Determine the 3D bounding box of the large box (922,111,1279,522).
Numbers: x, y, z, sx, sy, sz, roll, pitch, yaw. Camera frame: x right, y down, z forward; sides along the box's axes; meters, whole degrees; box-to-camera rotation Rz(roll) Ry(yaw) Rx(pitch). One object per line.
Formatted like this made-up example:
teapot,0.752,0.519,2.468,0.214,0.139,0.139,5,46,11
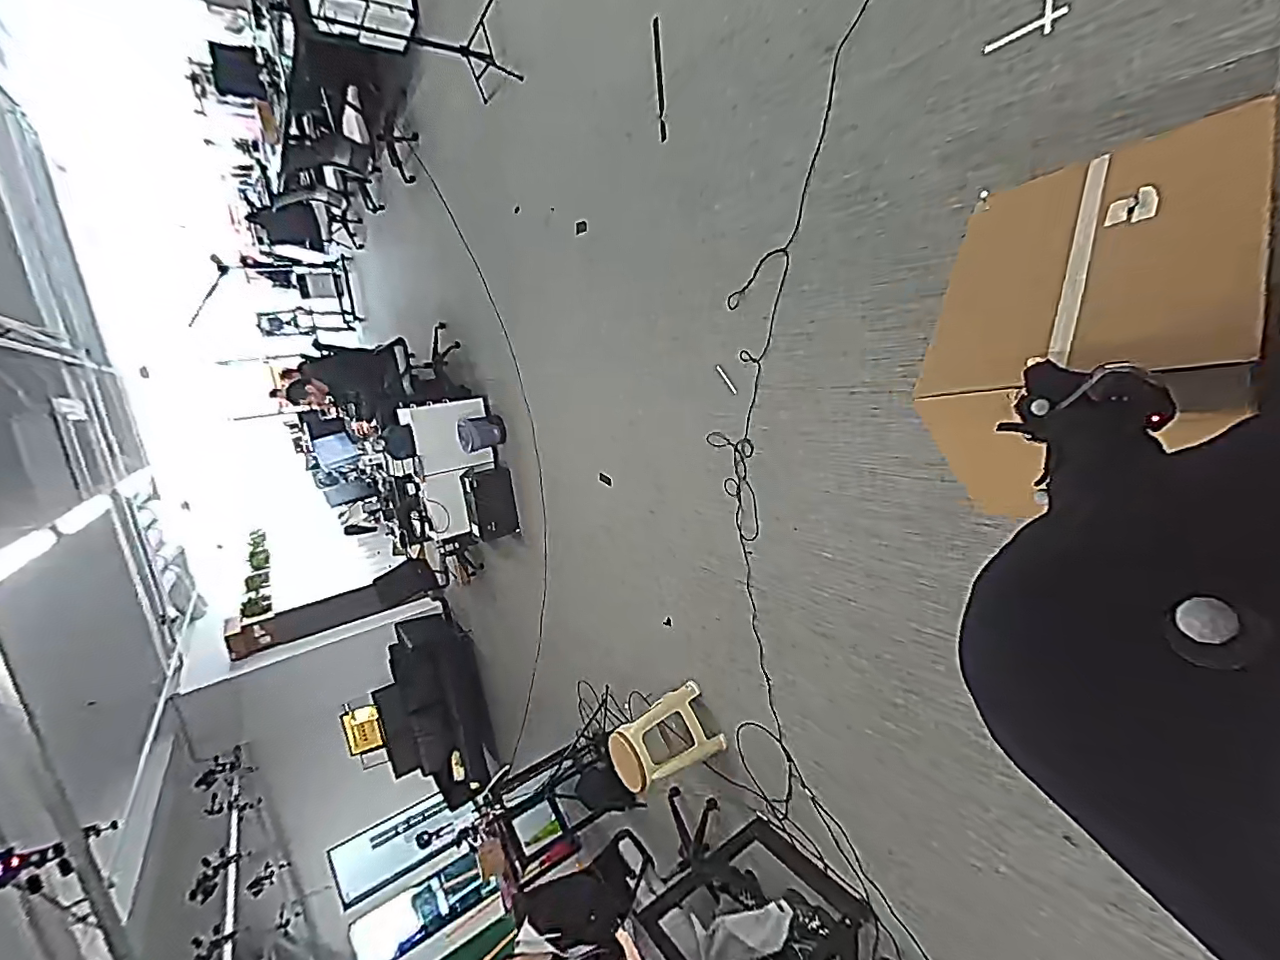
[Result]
large box,0.660,-0.189,0.762,0.320,0.408,0.320,41,157,-31
